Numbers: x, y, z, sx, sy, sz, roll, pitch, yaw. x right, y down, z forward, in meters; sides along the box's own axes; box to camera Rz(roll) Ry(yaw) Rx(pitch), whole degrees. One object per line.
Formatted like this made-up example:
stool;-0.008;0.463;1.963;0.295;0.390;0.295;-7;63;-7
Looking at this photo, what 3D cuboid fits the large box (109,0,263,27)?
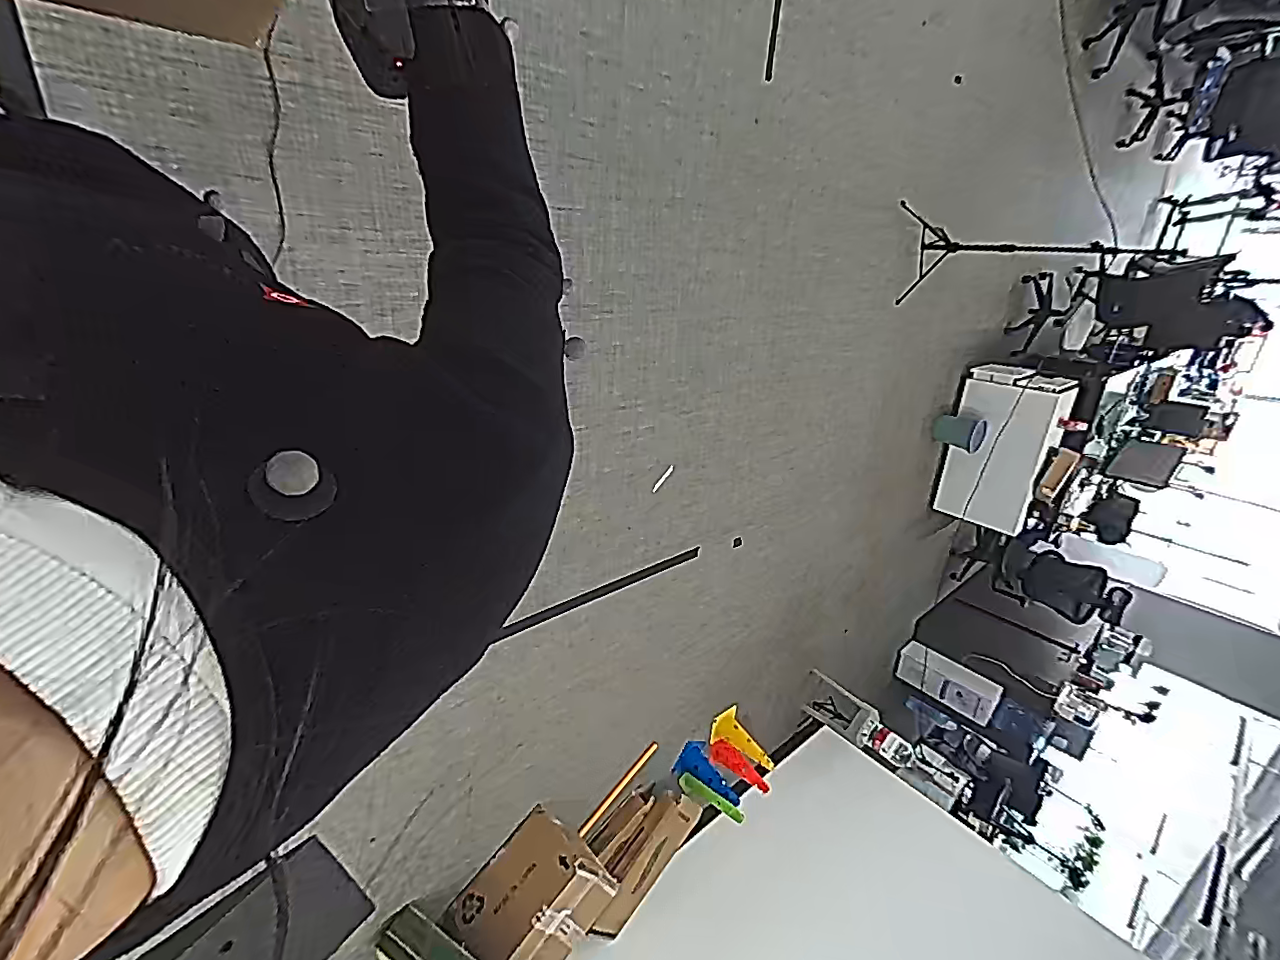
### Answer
large box;-0.414;-0.455;0.221;0.408;0.320;0.320;-17;123;-37
